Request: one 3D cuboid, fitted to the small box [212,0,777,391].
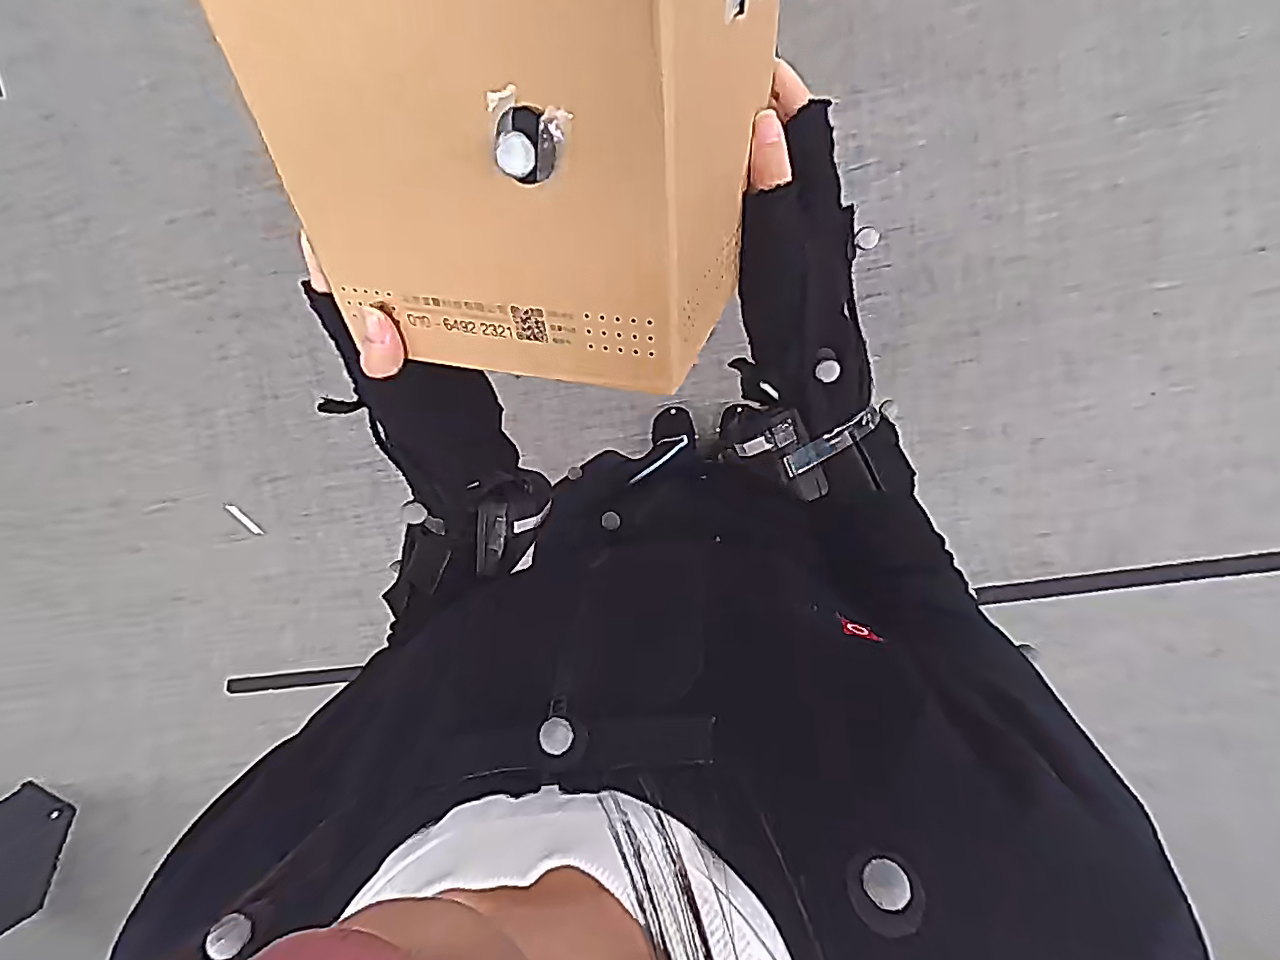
[{"bbox_3d":[-0.034,-0.161,0.251,0.168,0.179,0.176,12,135,18],"label":"small box"}]
